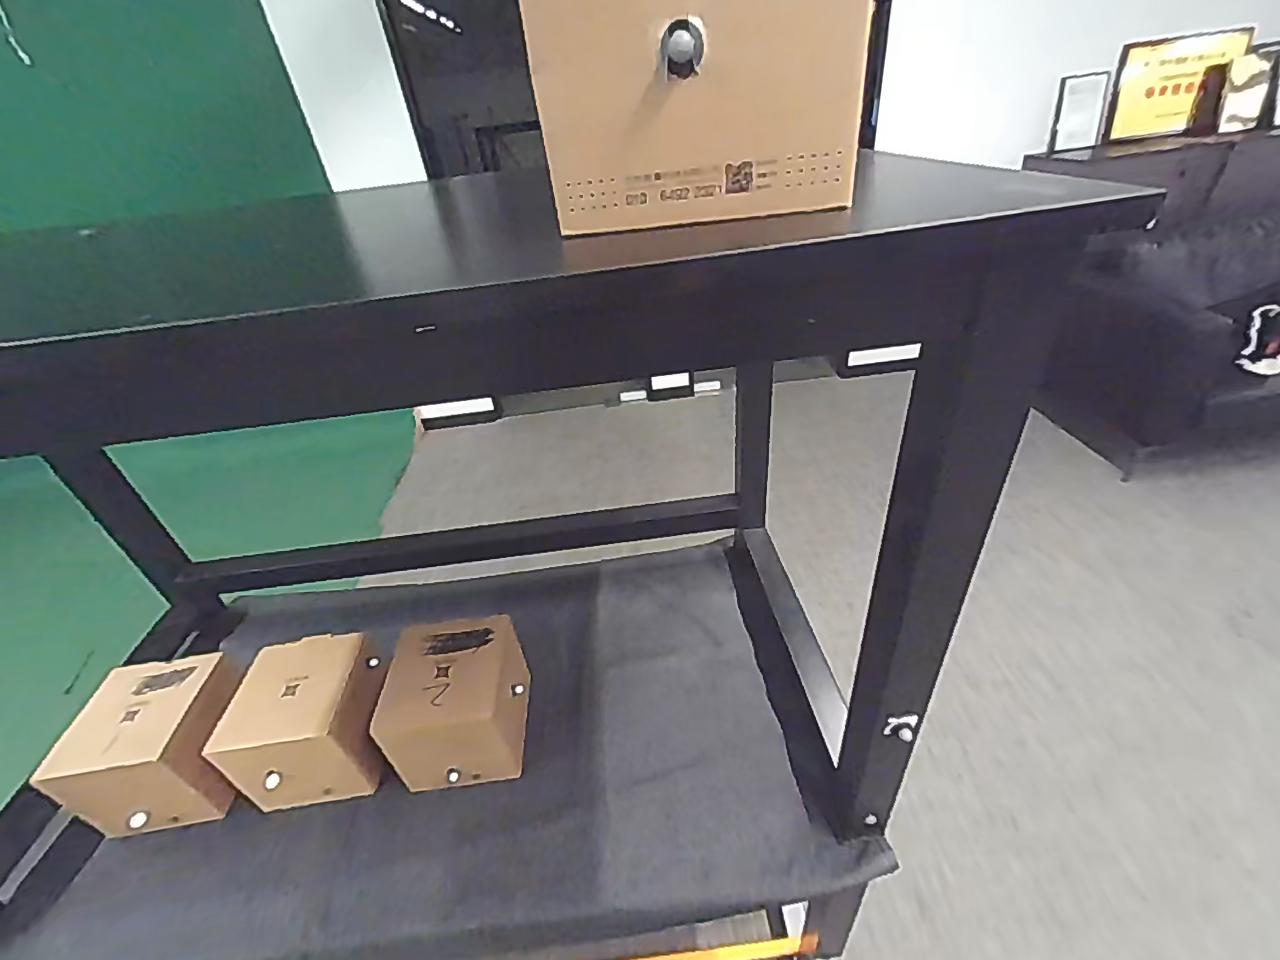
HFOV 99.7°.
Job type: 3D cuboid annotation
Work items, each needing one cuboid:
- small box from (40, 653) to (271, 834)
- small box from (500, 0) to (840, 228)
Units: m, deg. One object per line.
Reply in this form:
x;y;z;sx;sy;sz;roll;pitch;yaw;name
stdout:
-0.702;0.394;0.817;0.168;0.176;0.179;-9;35;-2;small box
0.024;-0.260;0.330;0.168;0.176;0.179;-2;35;9;small box
